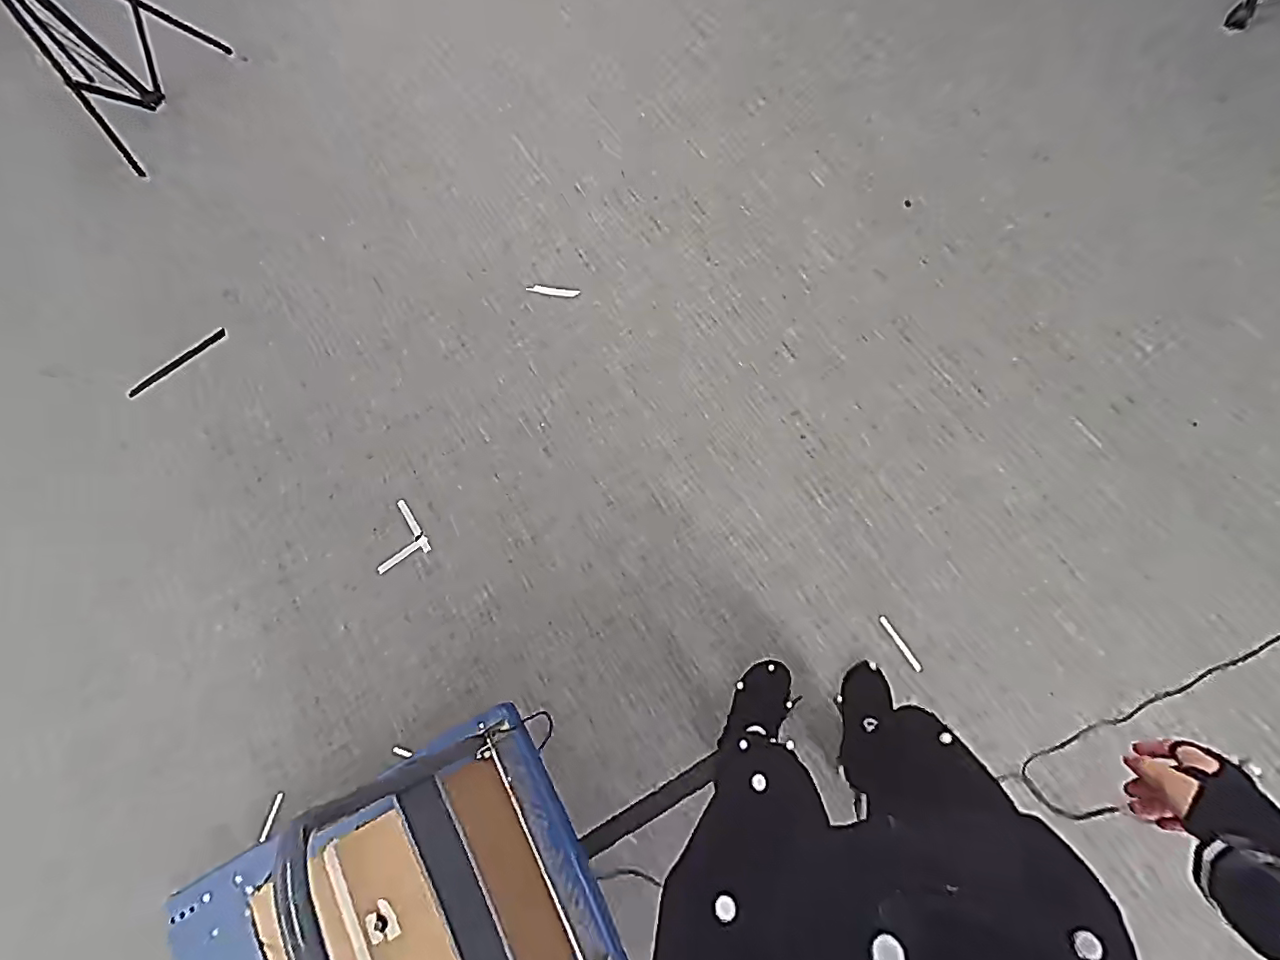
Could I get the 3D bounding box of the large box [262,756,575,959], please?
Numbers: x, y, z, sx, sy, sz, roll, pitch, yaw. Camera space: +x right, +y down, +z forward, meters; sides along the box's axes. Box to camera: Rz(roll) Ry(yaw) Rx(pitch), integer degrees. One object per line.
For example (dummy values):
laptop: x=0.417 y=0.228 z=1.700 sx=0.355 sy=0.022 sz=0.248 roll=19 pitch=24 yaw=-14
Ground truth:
large box: x=-0.370 y=0.792 z=0.967 sx=0.320 sy=0.320 sz=0.408 roll=-30 pitch=73 yaw=-1
